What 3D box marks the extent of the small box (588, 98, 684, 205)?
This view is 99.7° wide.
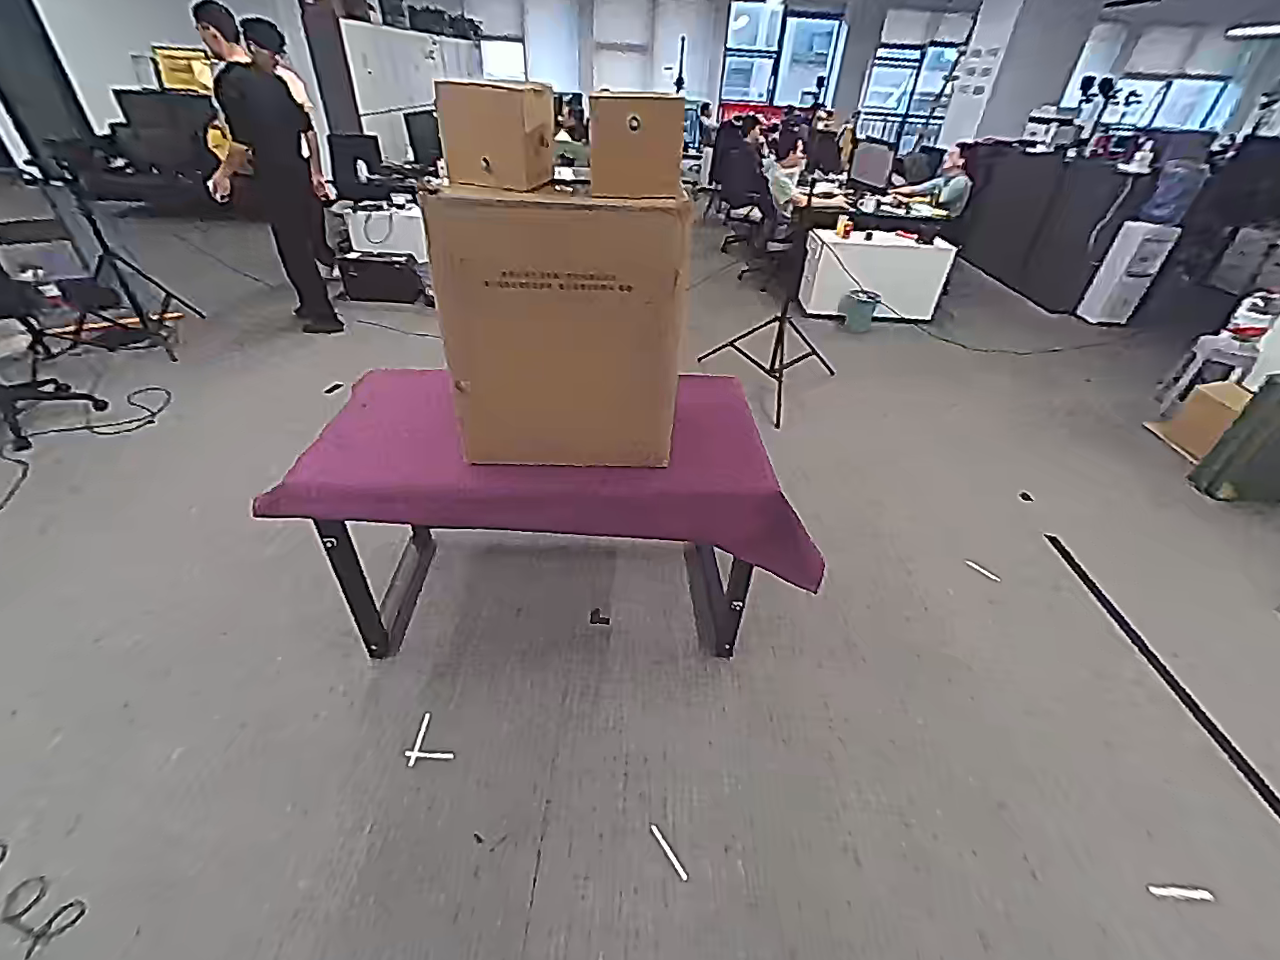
[{"bbox_3d":[-0.011,-0.653,1.077,0.179,0.176,0.168,-1,38,-3],"label":"small box"}]

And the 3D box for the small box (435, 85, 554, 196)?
[{"bbox_3d":[-0.280,-0.683,1.090,0.179,0.176,0.168,11,39,8],"label":"small box"}]
